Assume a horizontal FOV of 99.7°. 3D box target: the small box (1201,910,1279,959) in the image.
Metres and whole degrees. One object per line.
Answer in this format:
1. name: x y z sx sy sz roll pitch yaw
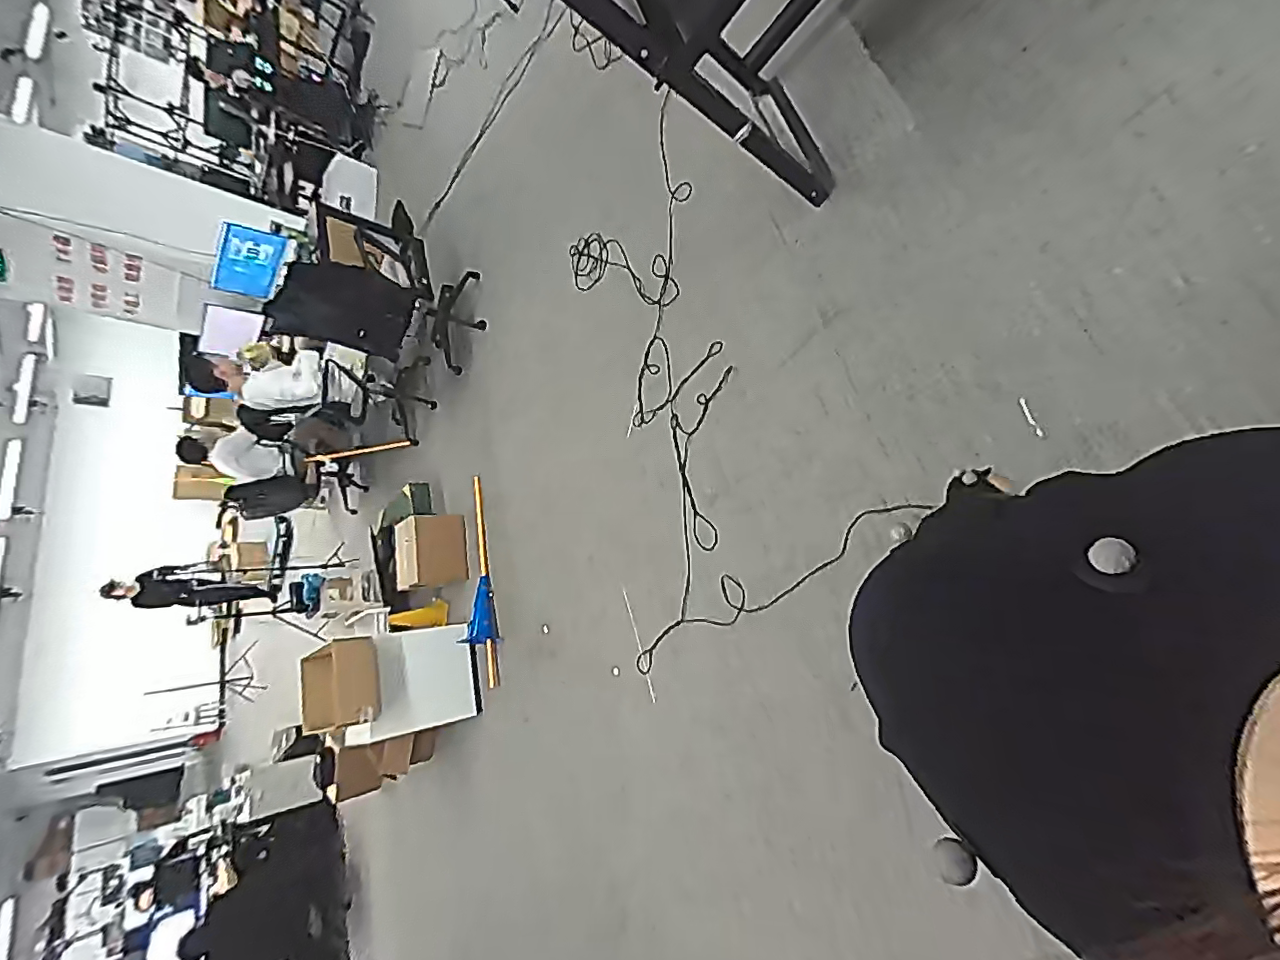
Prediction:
1. small box: 1.100 0.880 0.913 0.168 0.176 0.179 -27 67 42
